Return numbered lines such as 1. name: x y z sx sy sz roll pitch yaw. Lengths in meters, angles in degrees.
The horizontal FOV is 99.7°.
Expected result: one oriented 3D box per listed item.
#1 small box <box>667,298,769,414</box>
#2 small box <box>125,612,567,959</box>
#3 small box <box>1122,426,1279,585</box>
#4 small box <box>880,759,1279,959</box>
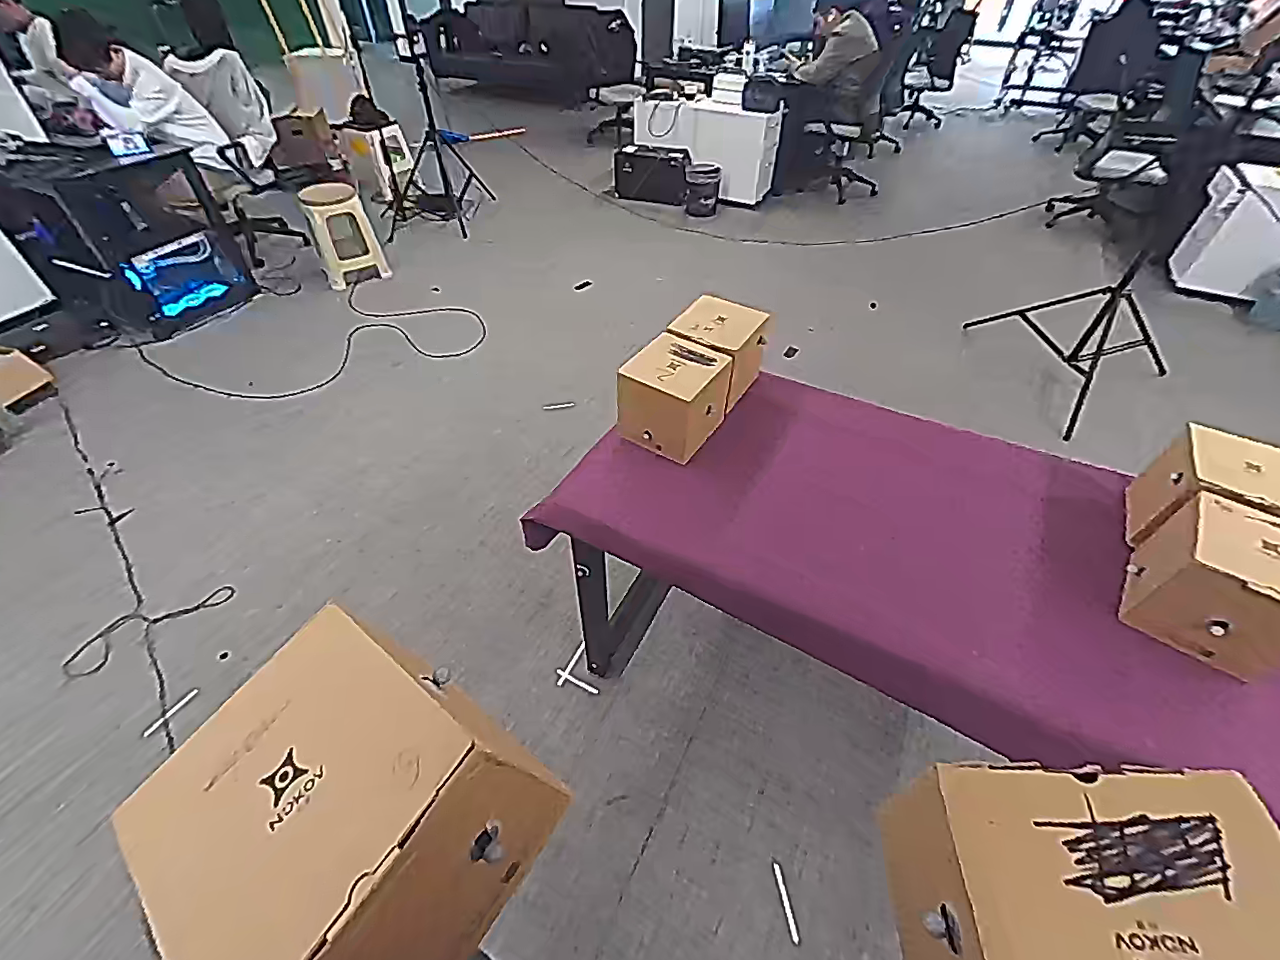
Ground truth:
1. small box: 0.169 -0.281 1.227 0.168 0.176 0.179 25 51 22
2. small box: -0.179 0.229 0.374 0.179 0.176 0.168 22 60 32
3. small box: 0.975 0.043 0.929 0.168 0.176 0.179 25 50 21
4. small box: 0.261 0.284 0.324 0.168 0.176 0.179 -3 51 7
